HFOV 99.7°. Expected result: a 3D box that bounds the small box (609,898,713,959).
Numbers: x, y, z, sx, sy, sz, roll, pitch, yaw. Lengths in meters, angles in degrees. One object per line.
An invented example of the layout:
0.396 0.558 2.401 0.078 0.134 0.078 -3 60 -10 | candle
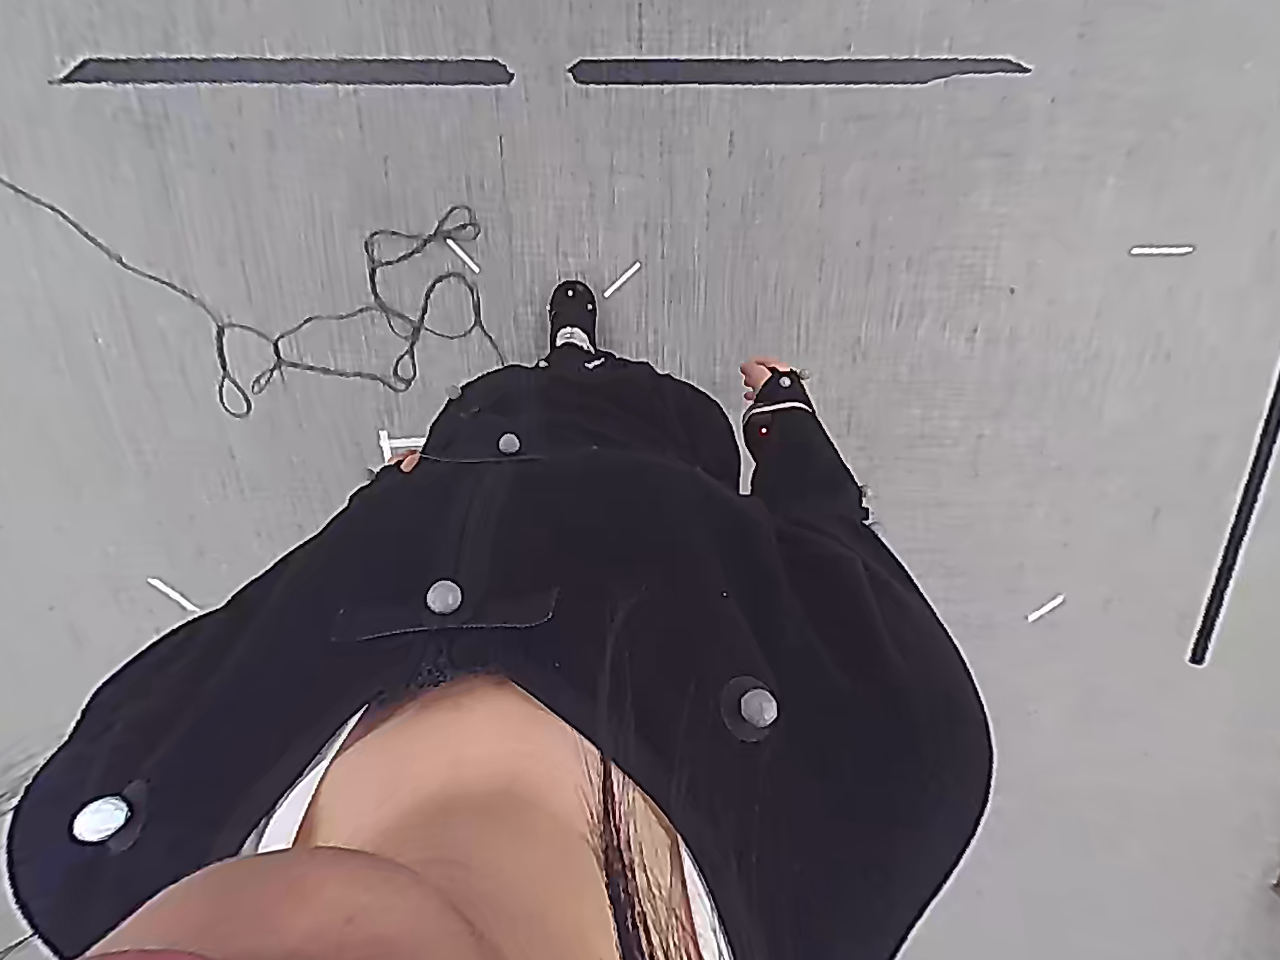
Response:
0.035 0.821 0.881 0.168 0.176 0.179 -3 107 0 | small box
